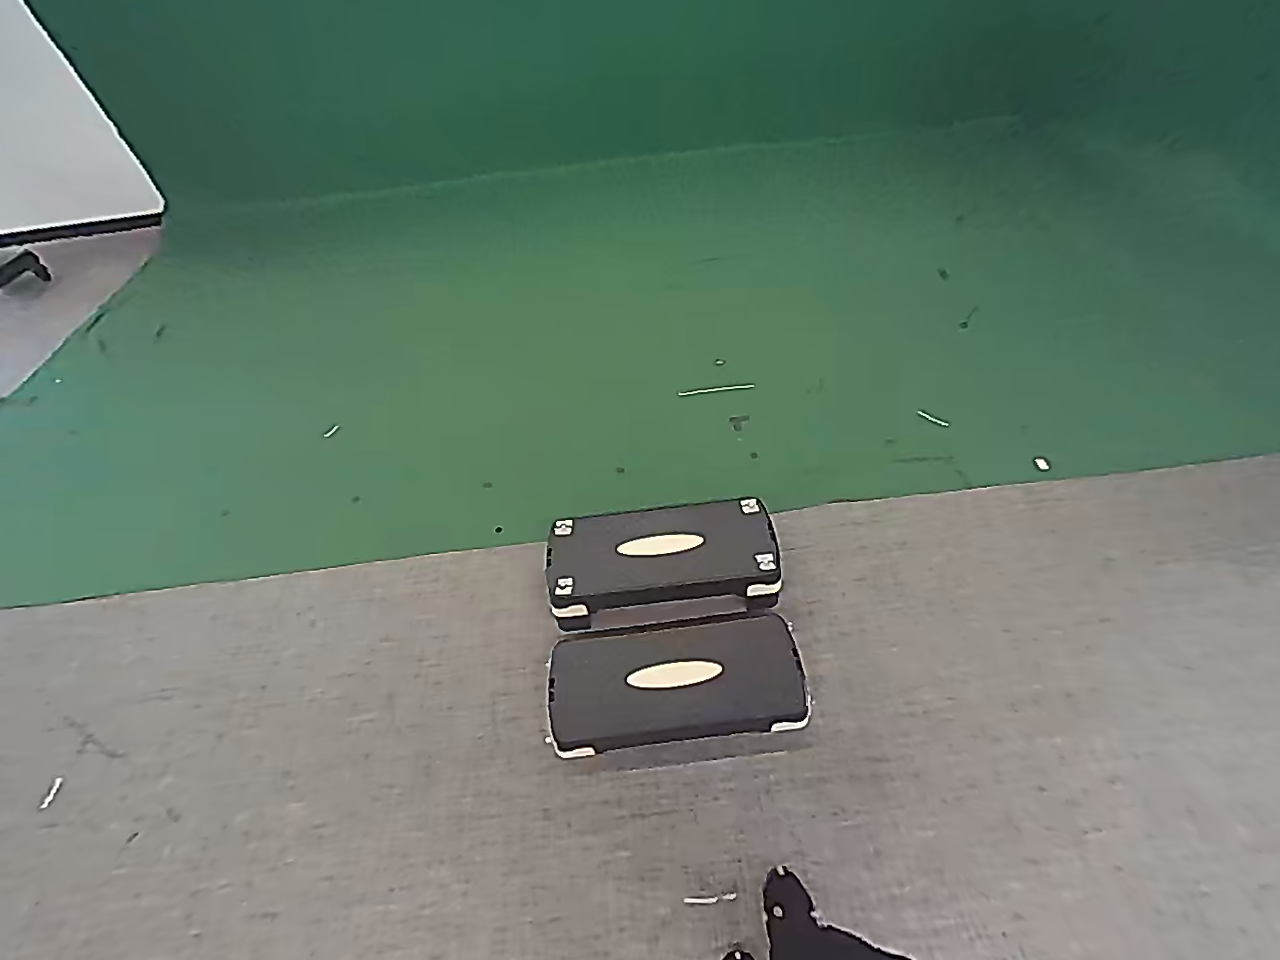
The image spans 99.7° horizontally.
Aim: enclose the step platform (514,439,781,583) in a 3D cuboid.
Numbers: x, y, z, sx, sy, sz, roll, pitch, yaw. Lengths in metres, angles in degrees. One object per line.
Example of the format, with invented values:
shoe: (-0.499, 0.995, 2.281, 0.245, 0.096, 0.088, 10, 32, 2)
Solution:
step platform: (0.019, 0.085, 1.476, 0.684, 0.204, 0.286, -7, 51, 1)
